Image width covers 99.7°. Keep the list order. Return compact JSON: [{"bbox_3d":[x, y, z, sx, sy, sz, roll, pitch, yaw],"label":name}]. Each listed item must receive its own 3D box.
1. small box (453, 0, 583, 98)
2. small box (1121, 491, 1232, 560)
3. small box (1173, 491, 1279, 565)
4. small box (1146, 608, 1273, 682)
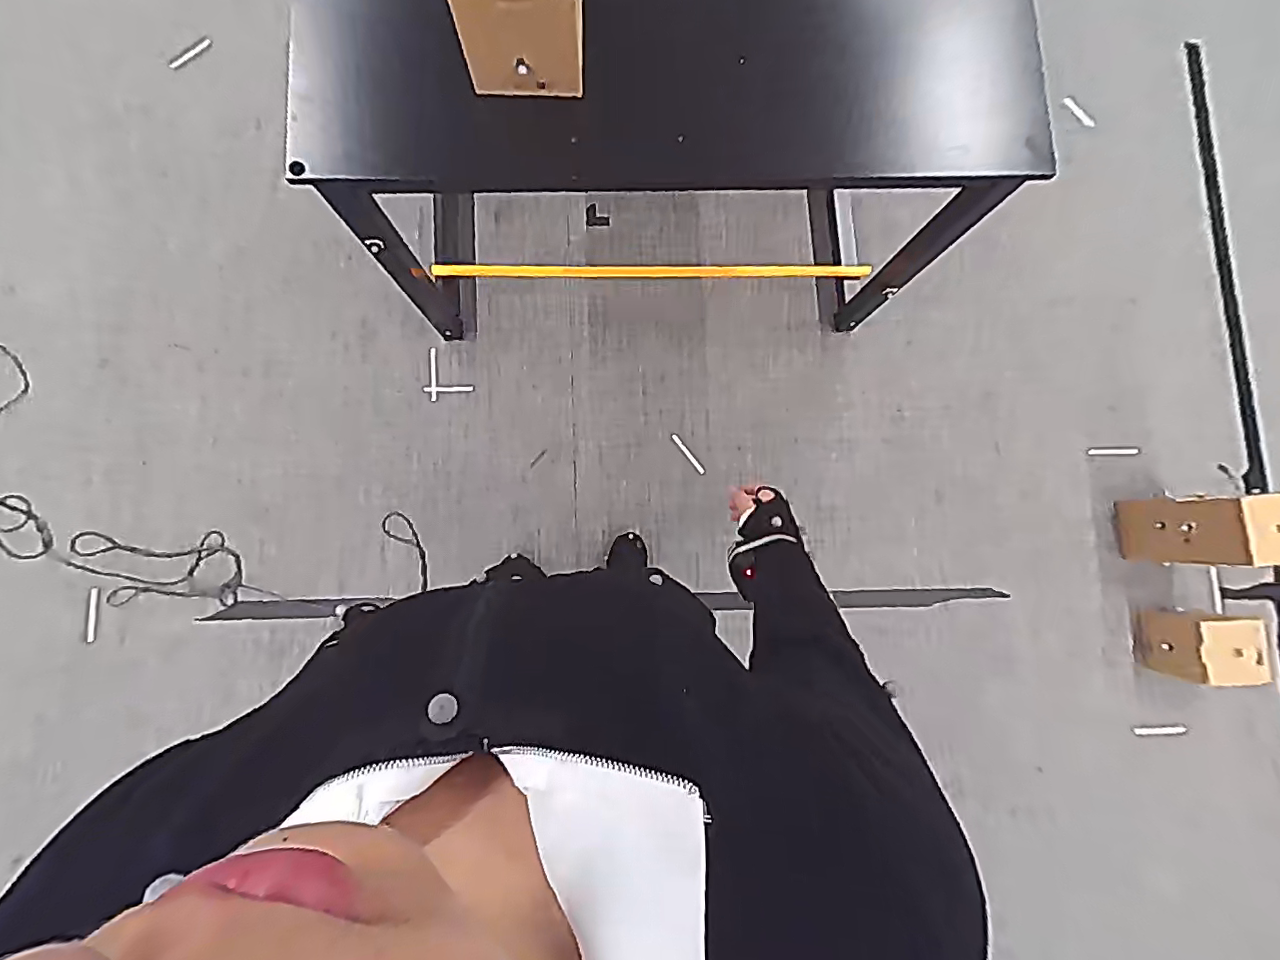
[{"bbox_3d":[-0.170,-0.695,0.773,0.168,0.176,0.179,0,84,-2],"label":"small box"},{"bbox_3d":[1.488,0.128,1.498,0.168,0.176,0.179,-3,85,-3],"label":"small box"},{"bbox_3d":[1.492,0.117,1.336,0.179,0.176,0.168,-6,83,-2],"label":"small box"},{"bbox_3d":[1.534,0.445,1.471,0.179,0.176,0.168,-2,85,-2],"label":"small box"}]
